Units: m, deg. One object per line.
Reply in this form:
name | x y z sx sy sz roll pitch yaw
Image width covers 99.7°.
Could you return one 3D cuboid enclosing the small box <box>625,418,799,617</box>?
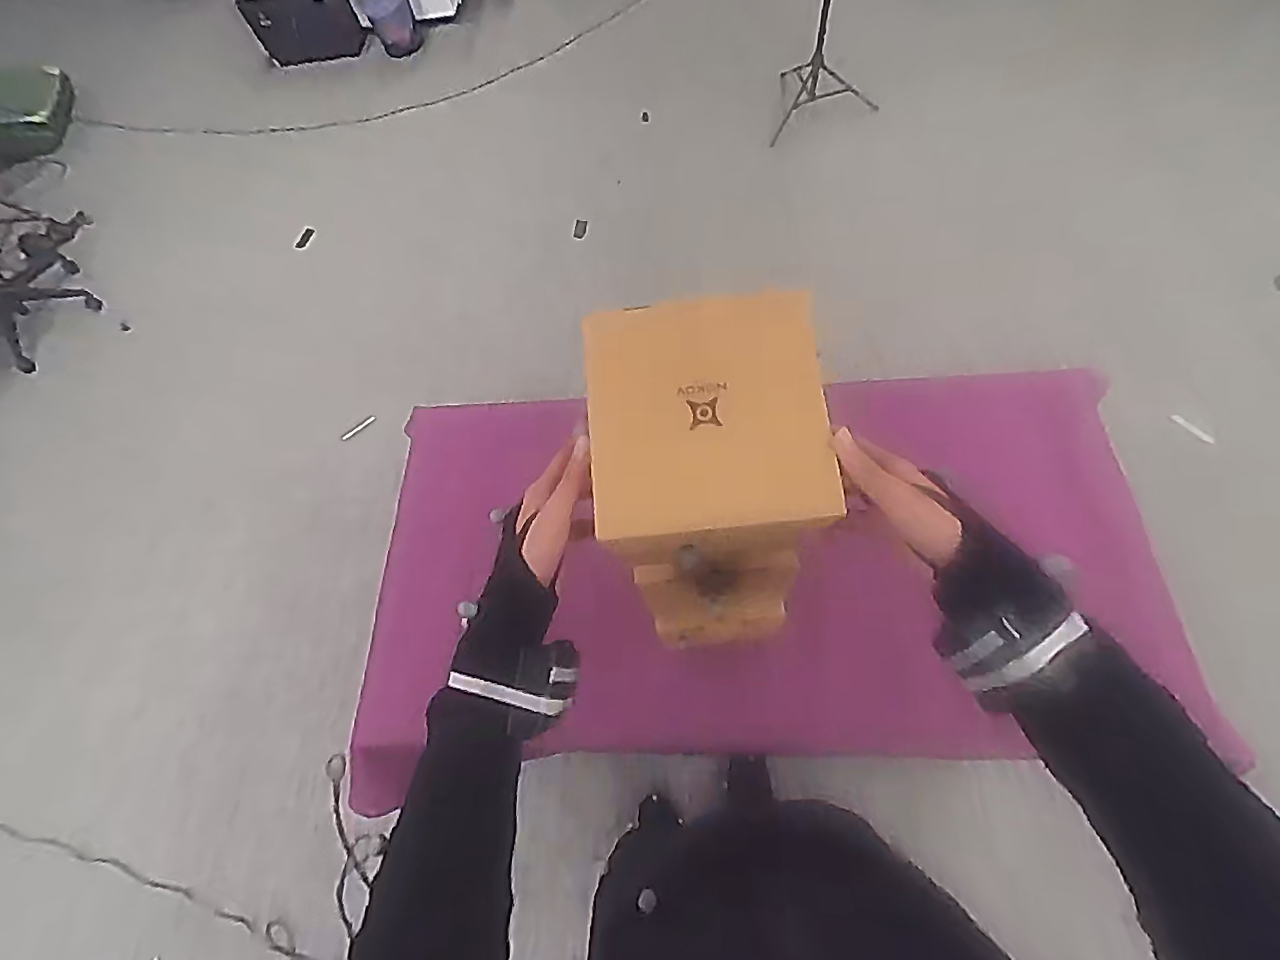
small box | 0.079 0.052 0.644 0.168 0.176 0.179 -8 64 5
